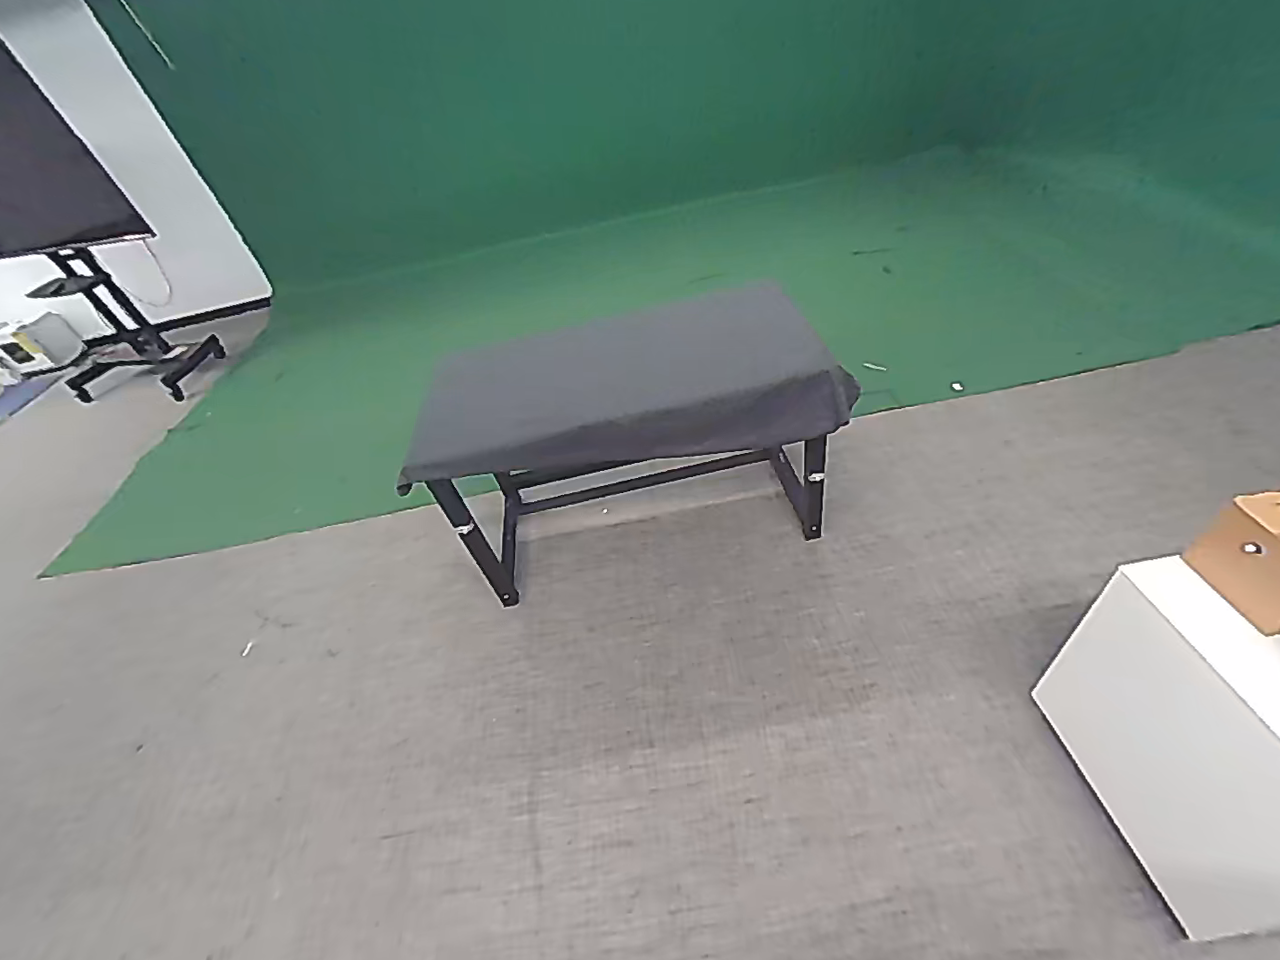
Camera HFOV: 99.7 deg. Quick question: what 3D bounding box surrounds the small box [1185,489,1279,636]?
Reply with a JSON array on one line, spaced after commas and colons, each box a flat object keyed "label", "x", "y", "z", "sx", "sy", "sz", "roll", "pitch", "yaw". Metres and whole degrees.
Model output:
[{"label": "small box", "x": 1.094, "y": 0.132, "z": 0.904, "sx": 0.168, "sy": 0.176, "sz": 0.179, "roll": -13, "pitch": 45, "yaw": 2}]
